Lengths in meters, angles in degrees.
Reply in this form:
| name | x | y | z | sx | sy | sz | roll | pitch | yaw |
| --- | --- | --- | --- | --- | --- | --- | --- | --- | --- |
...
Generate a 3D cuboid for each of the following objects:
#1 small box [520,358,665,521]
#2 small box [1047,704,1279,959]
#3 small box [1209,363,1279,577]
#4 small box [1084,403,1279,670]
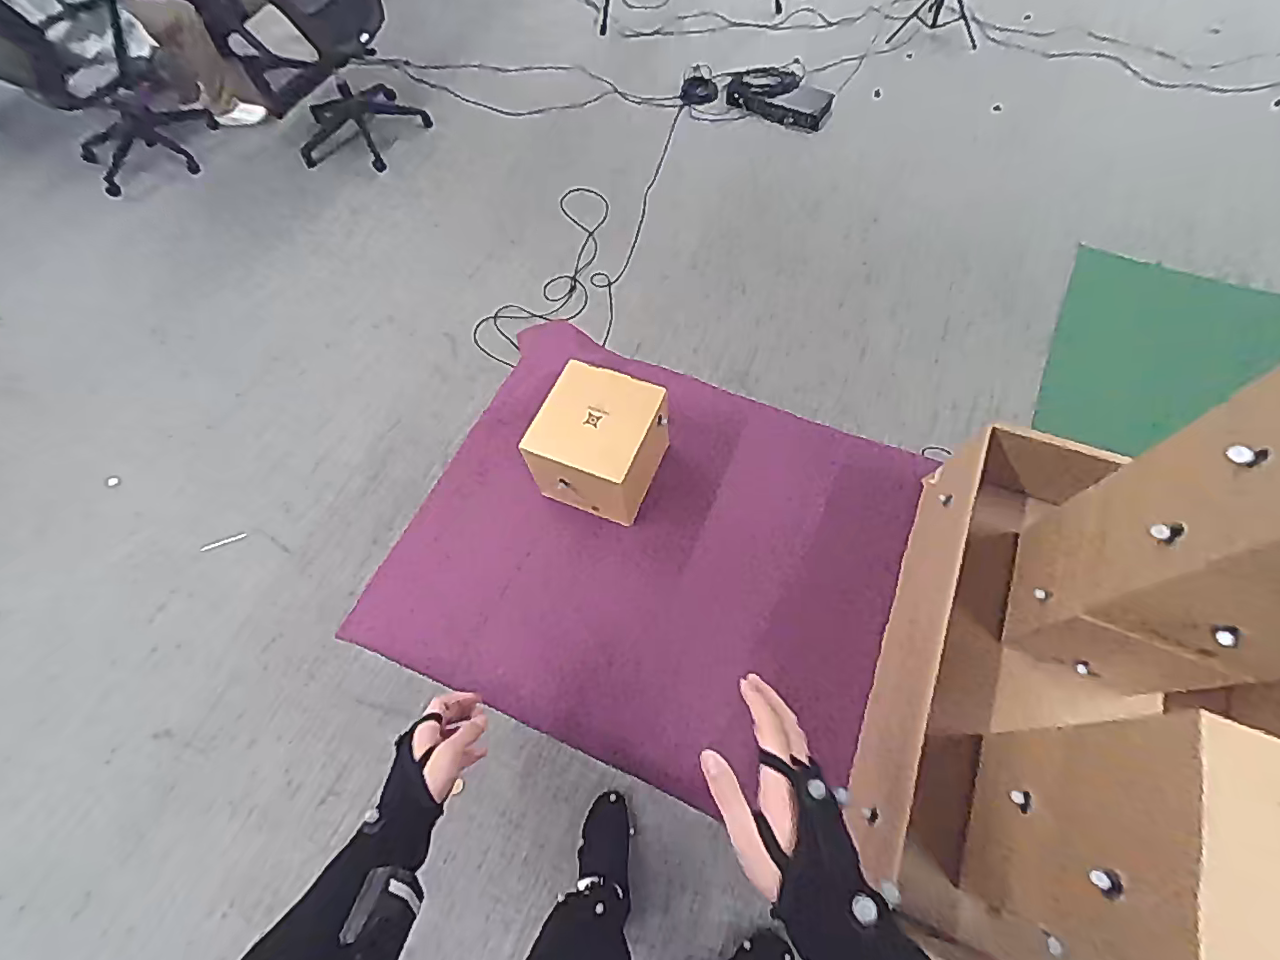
| name | x | y | z | sx | sy | sz | roll | pitch | yaw |
| --- | --- | --- | --- | --- | --- | --- | --- | --- | --- |
| small box | -0.062 | -0.058 | 0.865 | 0.168 | 0.176 | 0.179 | 19 | 64 | 13 |
| small box | 0.449 | 0.298 | 0.410 | 0.168 | 0.176 | 0.179 | 21 | 65 | 15 |
| small box | 0.560 | -0.009 | 0.374 | 0.168 | 0.176 | 0.179 | 23 | 69 | 15 |
| small box | 0.575 | 0.063 | 0.520 | 0.168 | 0.176 | 0.179 | 23 | 67 | 15 |
